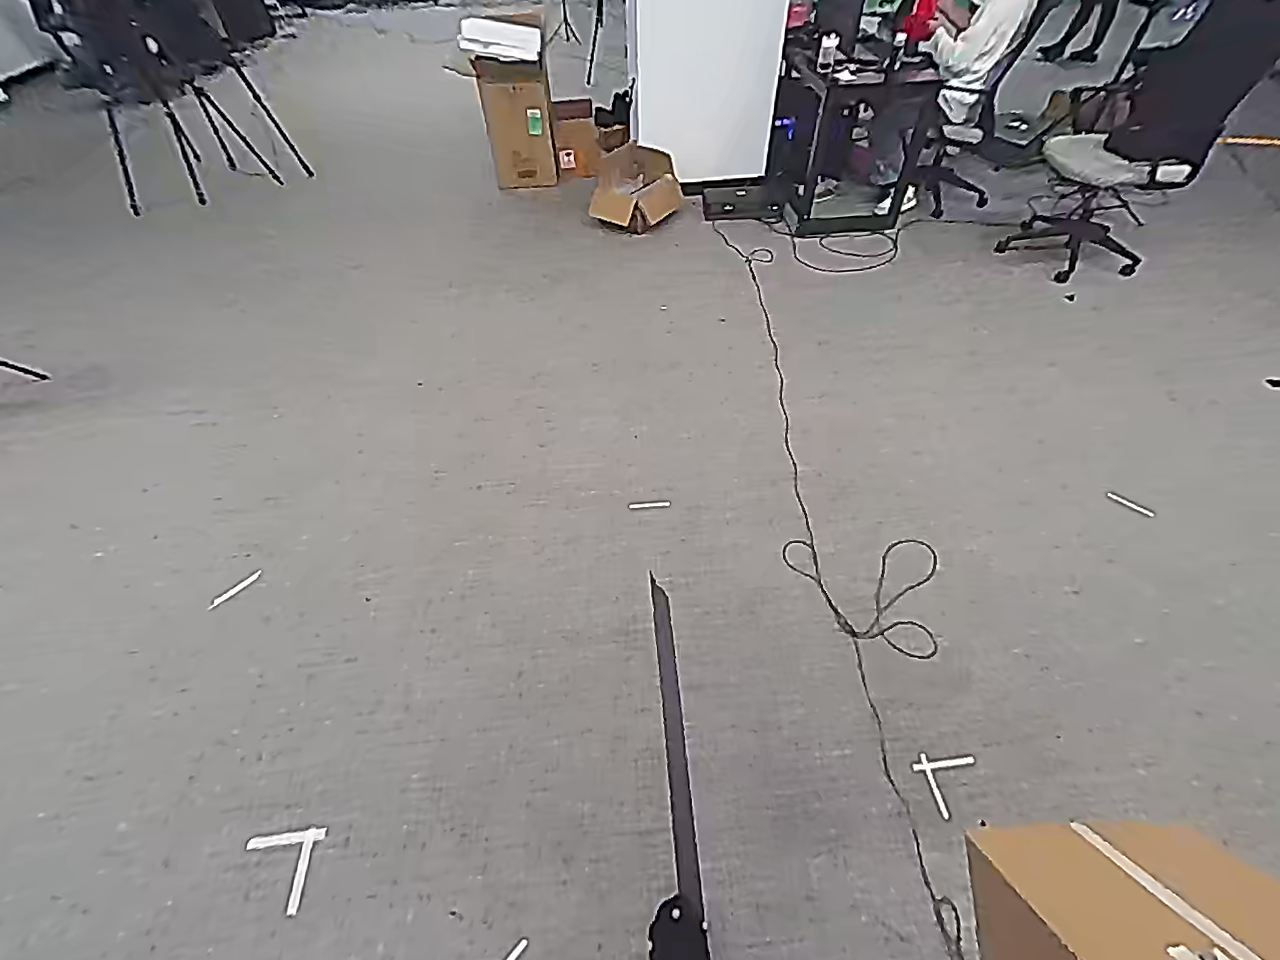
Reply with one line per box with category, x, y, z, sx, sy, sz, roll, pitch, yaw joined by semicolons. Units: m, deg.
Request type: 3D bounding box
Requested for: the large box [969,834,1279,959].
large box;0.629;0.658;0.585;0.320;0.408;0.320;-4;85;4
